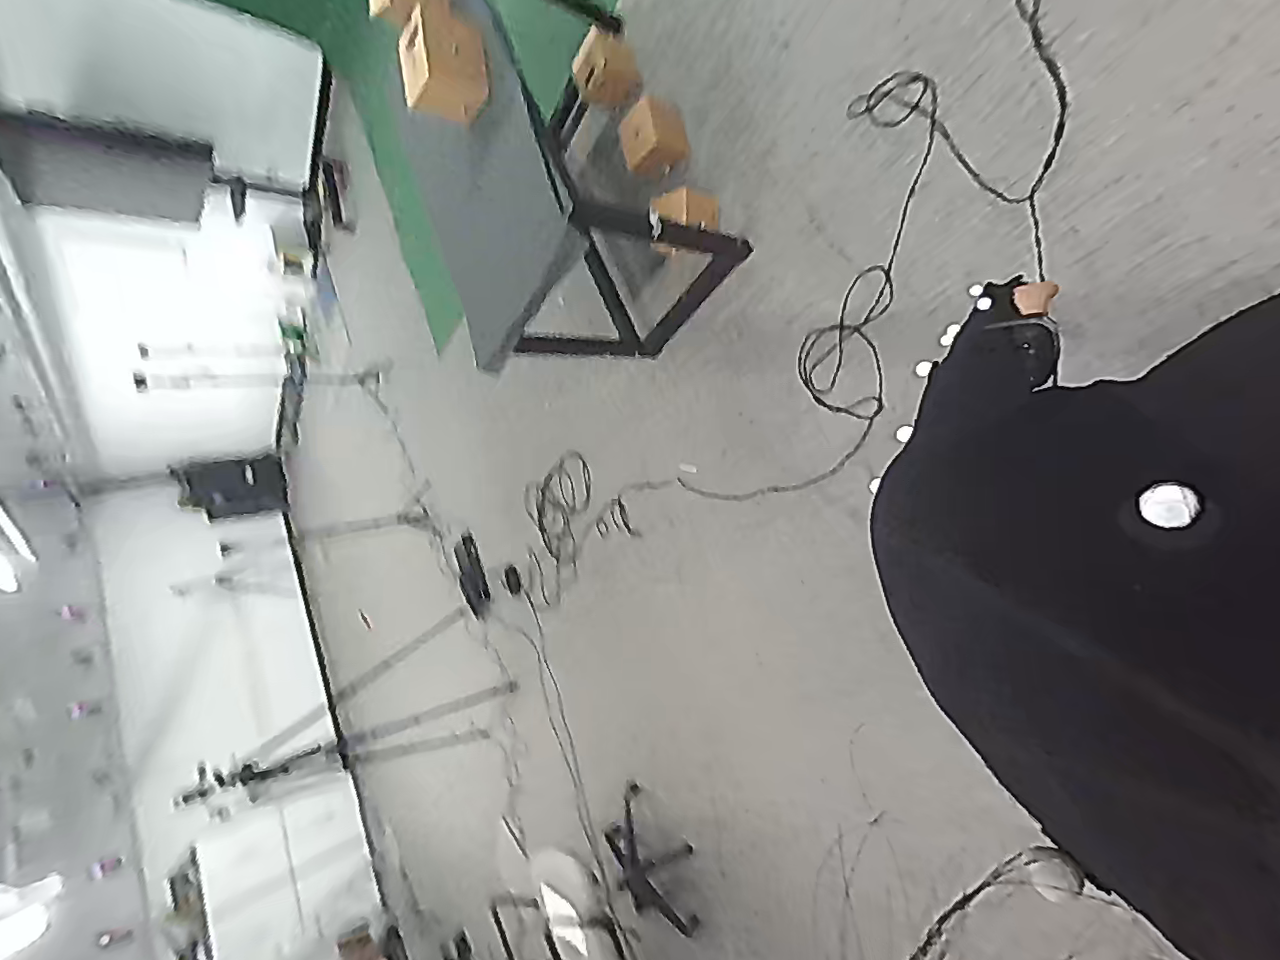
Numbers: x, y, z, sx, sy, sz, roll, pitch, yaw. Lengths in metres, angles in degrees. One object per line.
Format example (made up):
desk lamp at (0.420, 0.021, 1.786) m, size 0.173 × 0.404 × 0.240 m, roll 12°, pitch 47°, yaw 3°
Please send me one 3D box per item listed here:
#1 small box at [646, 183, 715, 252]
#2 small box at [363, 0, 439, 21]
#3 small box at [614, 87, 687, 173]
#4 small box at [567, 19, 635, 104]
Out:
small box at (0.140, -0.888, 1.842) m, size 0.179 × 0.176 × 0.168 m, roll 10°, pitch 105°, yaw 47°
small box at (-0.674, -1.438, 1.523) m, size 0.179 × 0.176 × 0.168 m, roll 27°, pitch 120°, yaw 42°
small box at (0.039, -1.210, 1.886) m, size 0.168 × 0.176 × 0.179 m, roll -19°, pitch 86°, yaw 49°
small box at (-0.142, -1.547, 2.015) m, size 0.168 × 0.176 × 0.179 m, roll -31°, pitch 74°, yaw 46°
